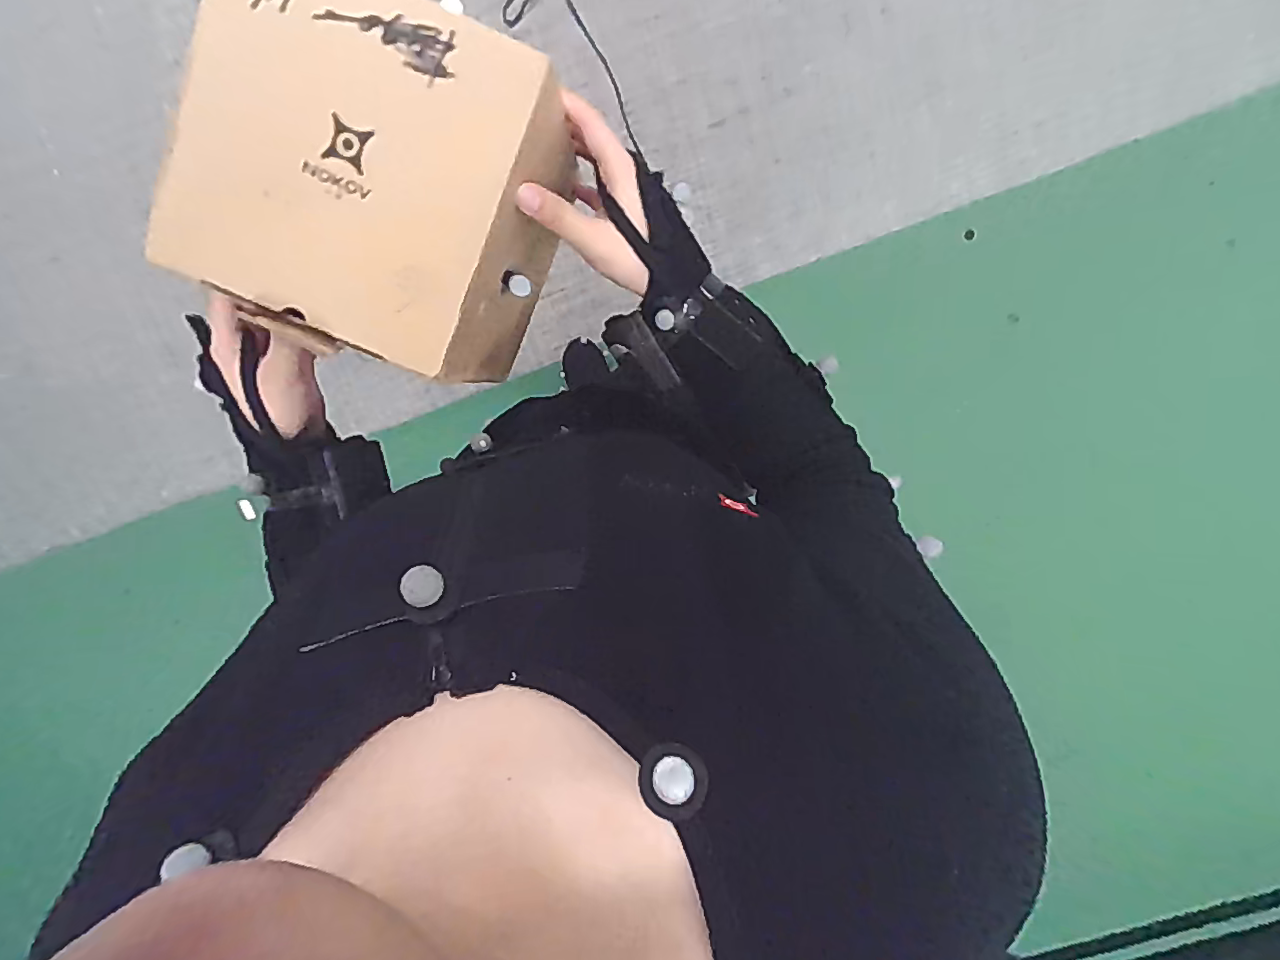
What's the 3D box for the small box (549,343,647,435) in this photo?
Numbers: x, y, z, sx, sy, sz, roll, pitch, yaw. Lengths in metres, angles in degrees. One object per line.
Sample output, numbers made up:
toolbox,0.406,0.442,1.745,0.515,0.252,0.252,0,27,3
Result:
small box,-0.100,-0.214,1.270,0.179,0.176,0.168,22,102,6
